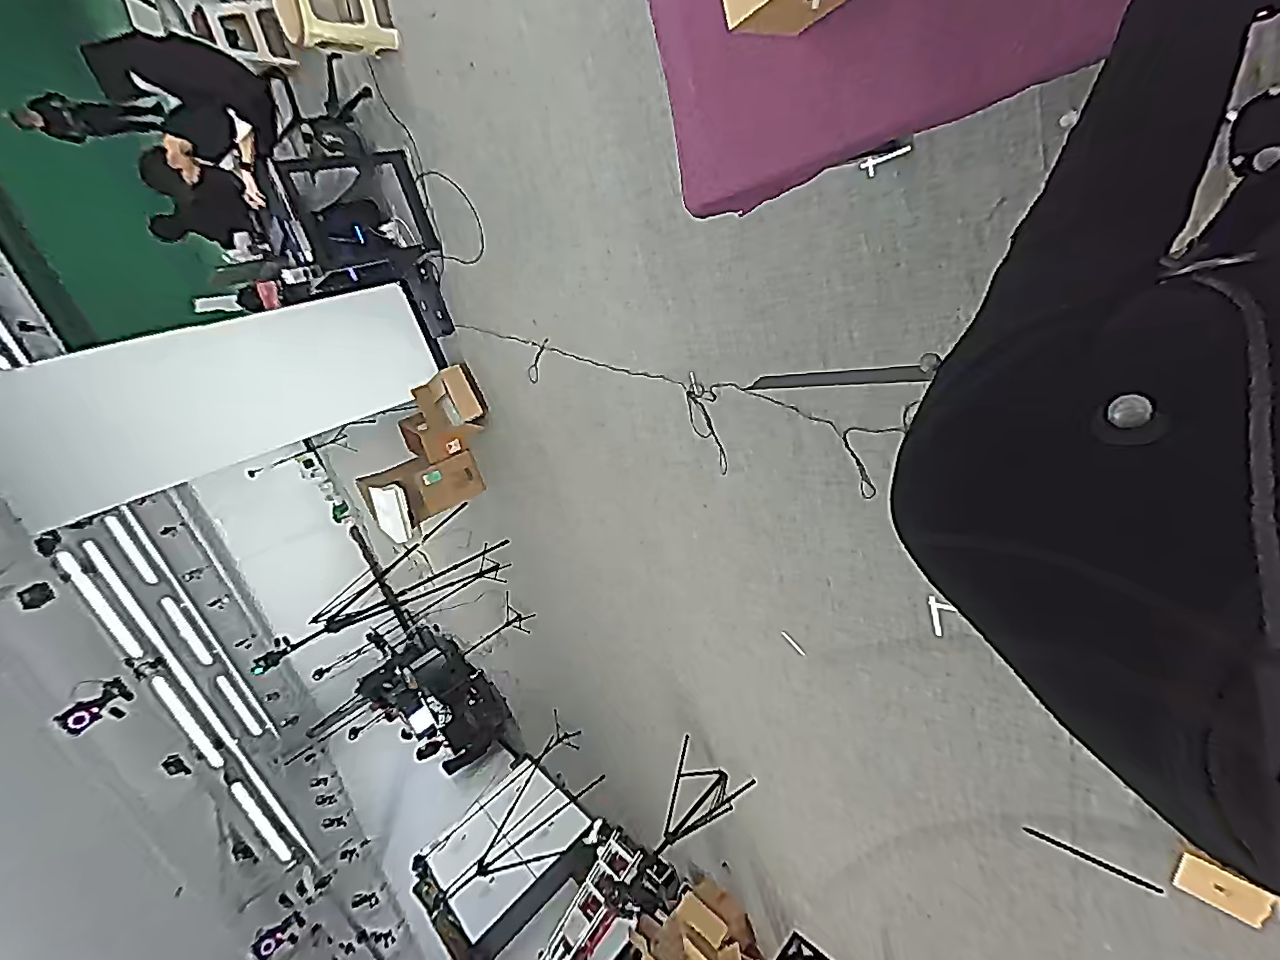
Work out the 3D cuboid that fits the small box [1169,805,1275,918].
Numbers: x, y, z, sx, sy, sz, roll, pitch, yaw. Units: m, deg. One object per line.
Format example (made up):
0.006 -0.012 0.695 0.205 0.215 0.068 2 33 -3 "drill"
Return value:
1.662 1.077 1.546 0.179 0.176 0.168 15 127 44 "small box"
